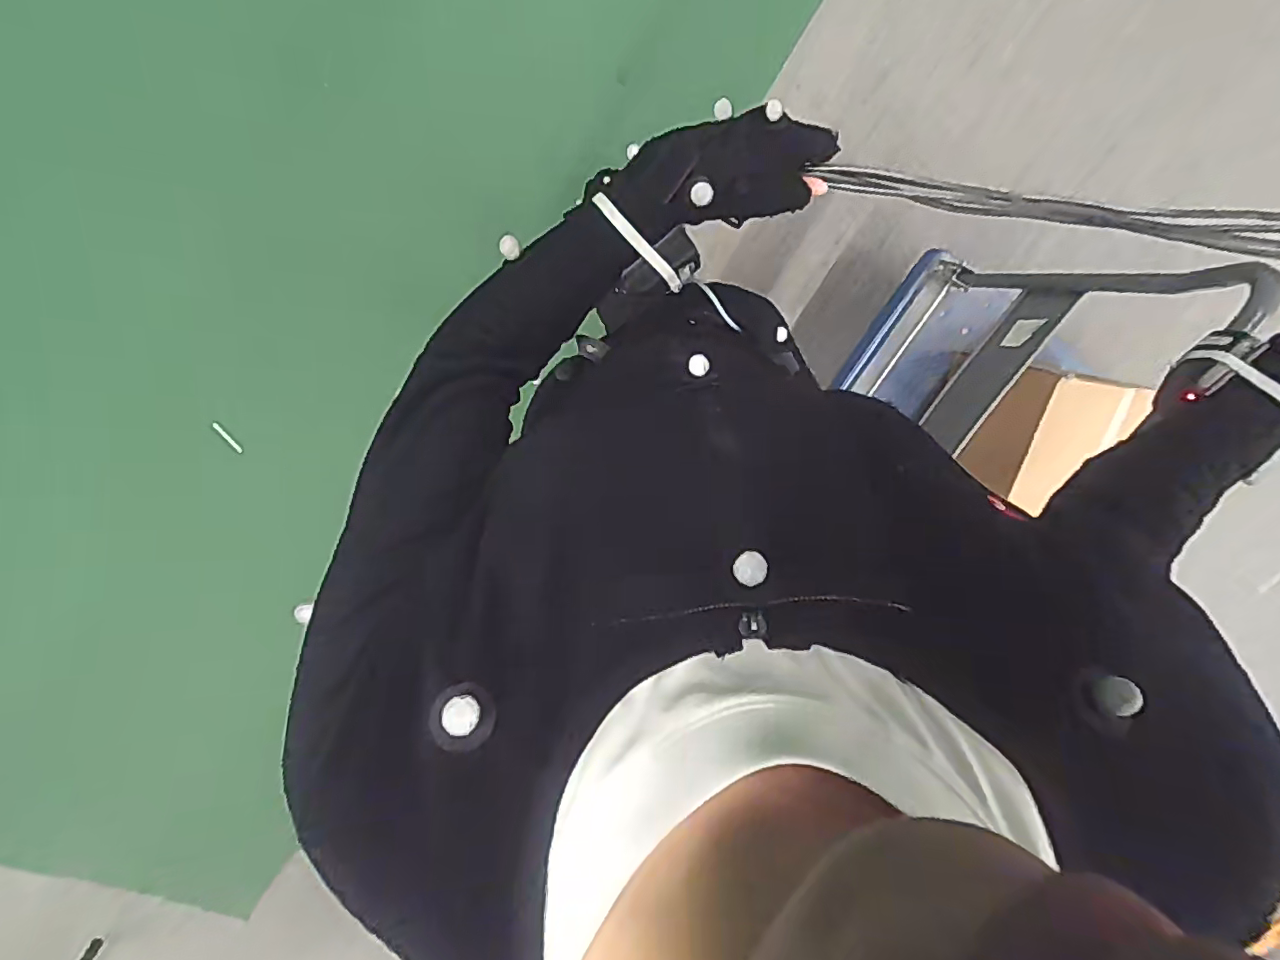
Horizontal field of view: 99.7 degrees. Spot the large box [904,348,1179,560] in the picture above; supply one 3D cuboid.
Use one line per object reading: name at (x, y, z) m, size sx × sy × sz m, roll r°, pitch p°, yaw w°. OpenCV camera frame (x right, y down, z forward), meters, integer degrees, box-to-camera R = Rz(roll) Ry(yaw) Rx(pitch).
large box at (0.892, -0.069, 1.269) m, size 0.320 × 0.320 × 0.408 m, roll 6°, pitch 110°, yaw -10°
